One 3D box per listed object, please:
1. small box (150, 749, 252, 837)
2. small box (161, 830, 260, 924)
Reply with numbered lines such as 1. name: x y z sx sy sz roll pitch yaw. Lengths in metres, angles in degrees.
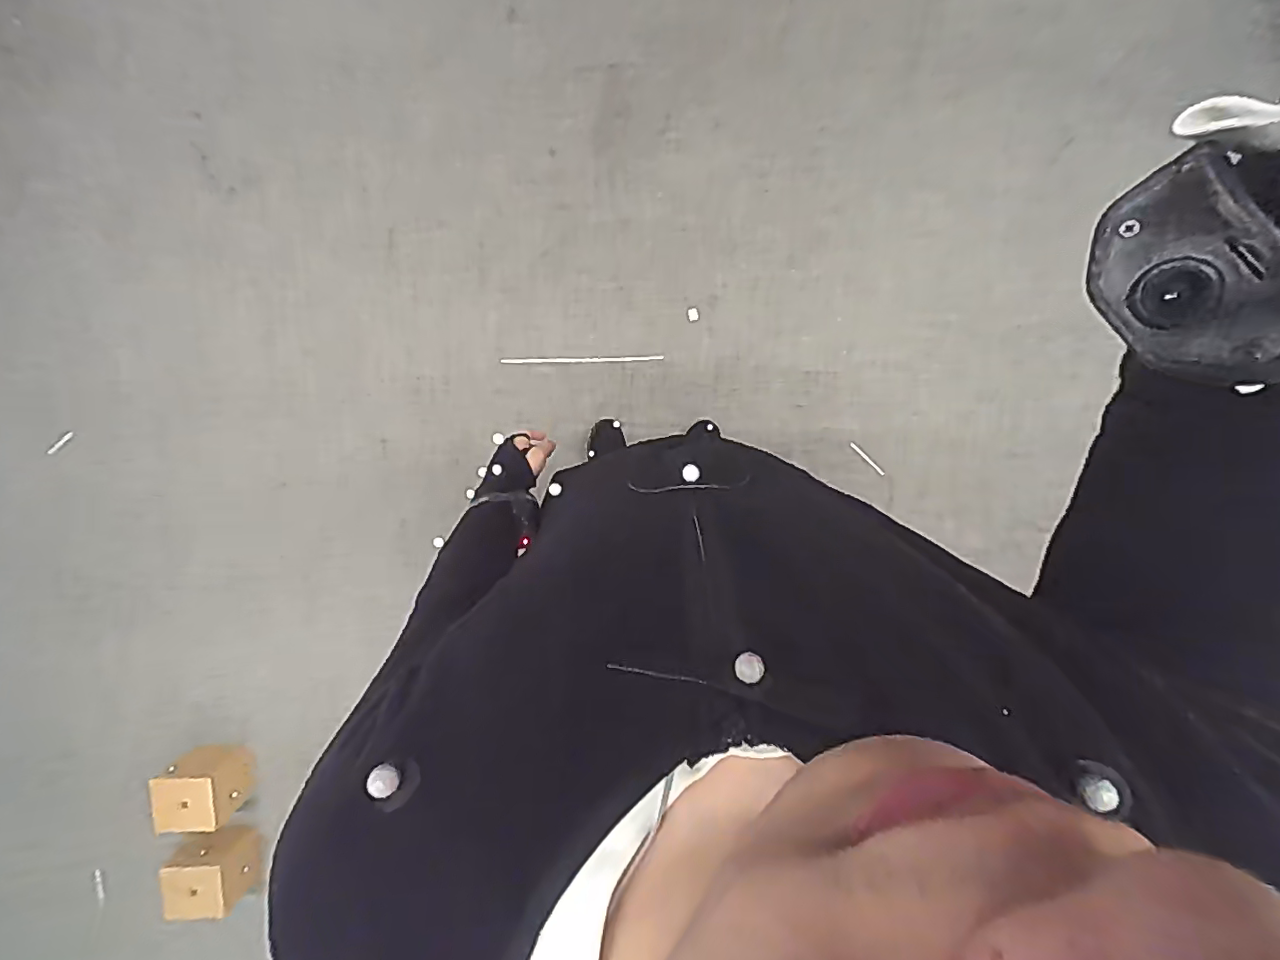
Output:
1. small box: -1.294 0.924 1.611 0.179 0.176 0.168 -1 96 -1
2. small box: -1.285 1.191 1.633 0.179 0.176 0.168 -1 95 -1
